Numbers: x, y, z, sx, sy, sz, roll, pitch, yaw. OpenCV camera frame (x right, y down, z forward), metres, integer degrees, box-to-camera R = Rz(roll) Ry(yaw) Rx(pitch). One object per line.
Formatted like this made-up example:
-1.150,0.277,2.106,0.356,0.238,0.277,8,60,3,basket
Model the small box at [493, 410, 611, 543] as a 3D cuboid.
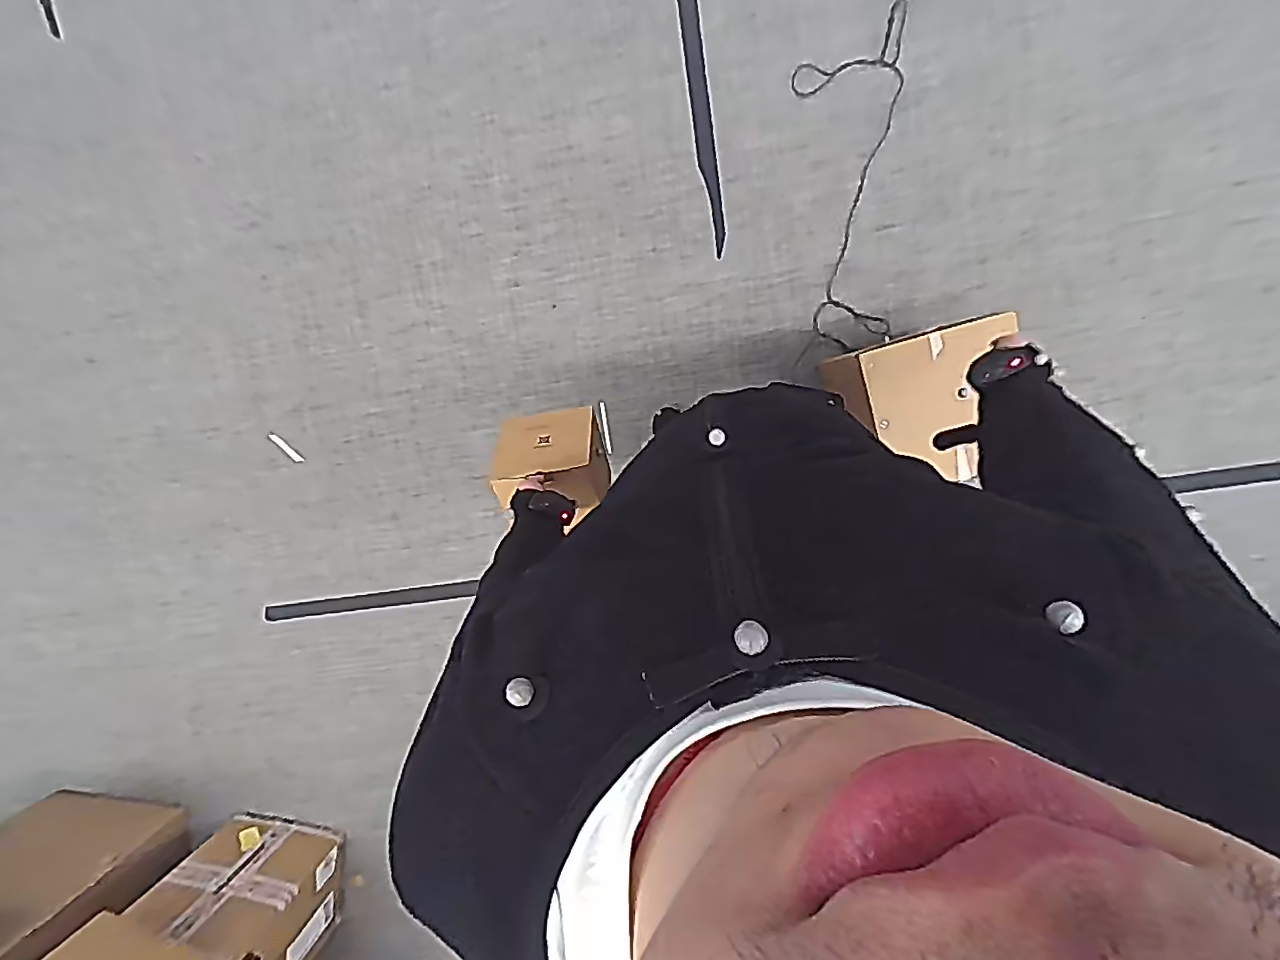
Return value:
-0.148,0.000,0.984,0.168,0.179,0.176,-8,131,5,small box
